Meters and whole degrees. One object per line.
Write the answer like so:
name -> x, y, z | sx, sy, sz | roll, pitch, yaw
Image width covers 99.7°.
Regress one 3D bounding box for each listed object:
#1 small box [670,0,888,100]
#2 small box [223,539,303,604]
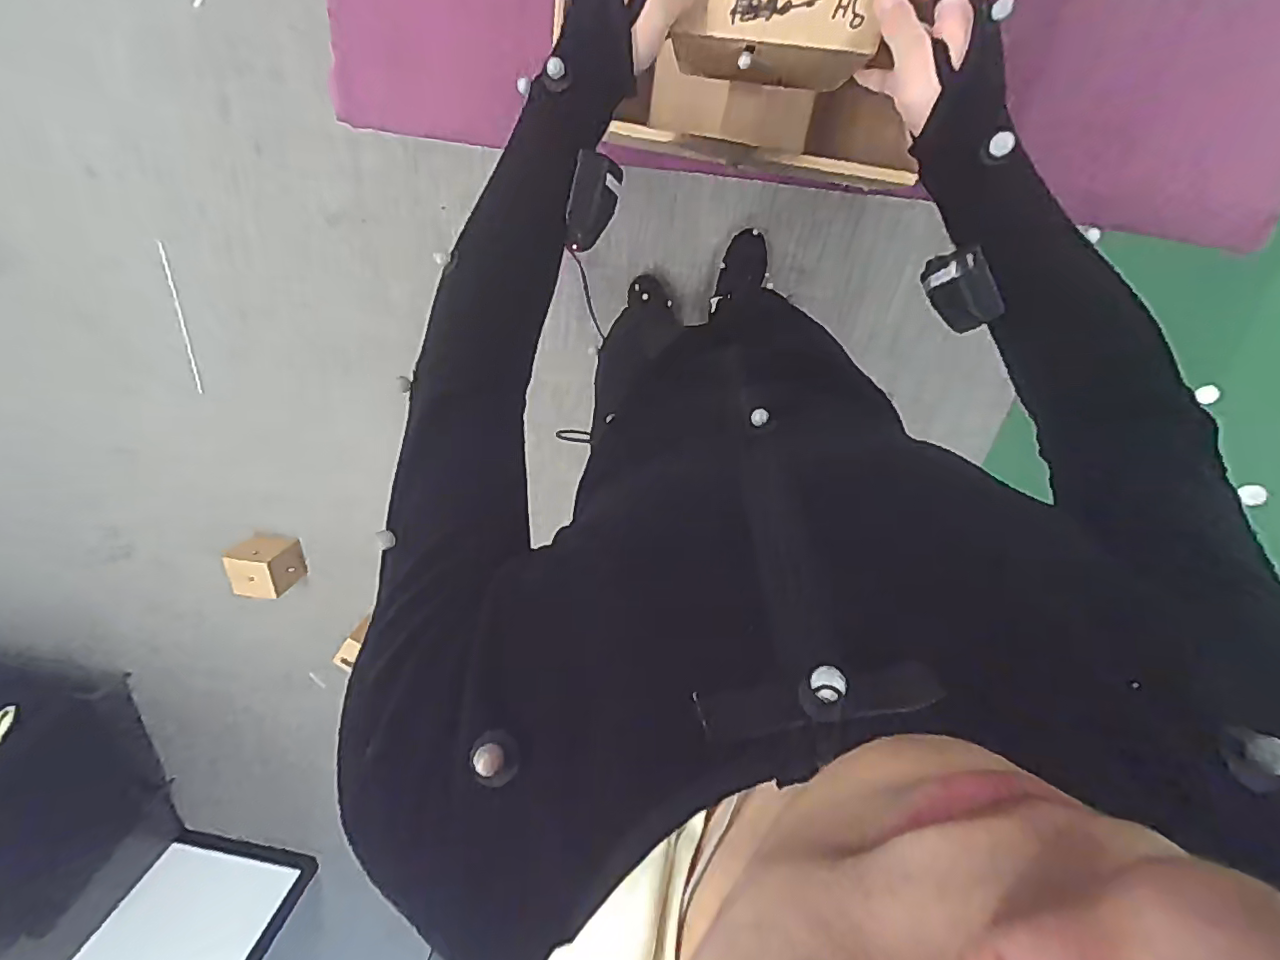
small box -> 0.121, -0.455, 0.460 | 0.168, 0.176, 0.179 | 9, 115, 3
small box -> -1.397, 0.337, 2.024 | 0.179, 0.176, 0.168 | 7, 115, 6
